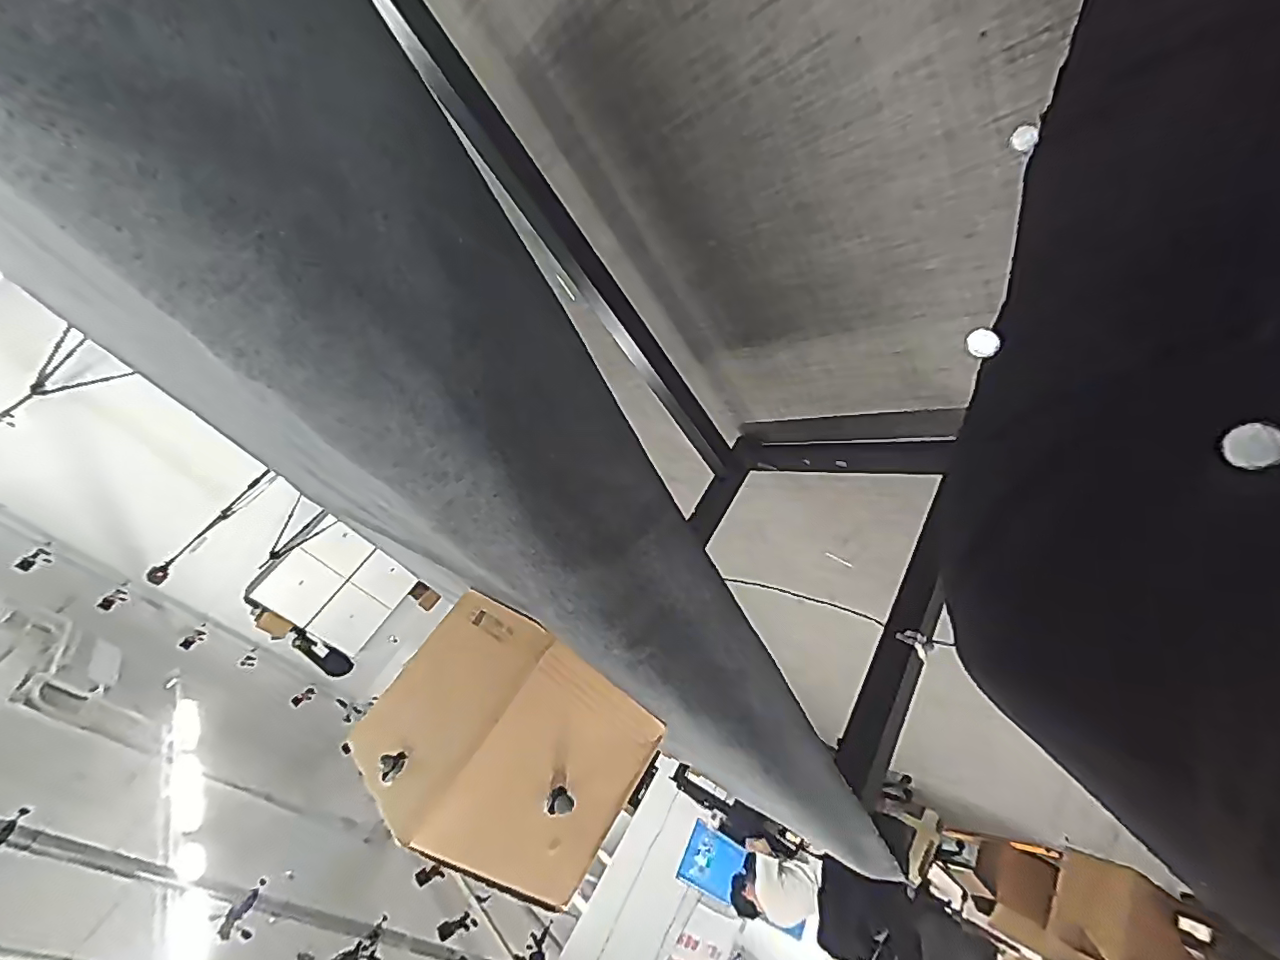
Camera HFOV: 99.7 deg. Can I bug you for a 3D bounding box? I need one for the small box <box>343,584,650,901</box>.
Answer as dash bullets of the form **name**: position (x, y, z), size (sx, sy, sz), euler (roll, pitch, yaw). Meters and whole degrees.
- **small box**: position (-0.122, 0.223, 0.491), size (0.168, 0.176, 0.179), euler (5, 142, 50)
